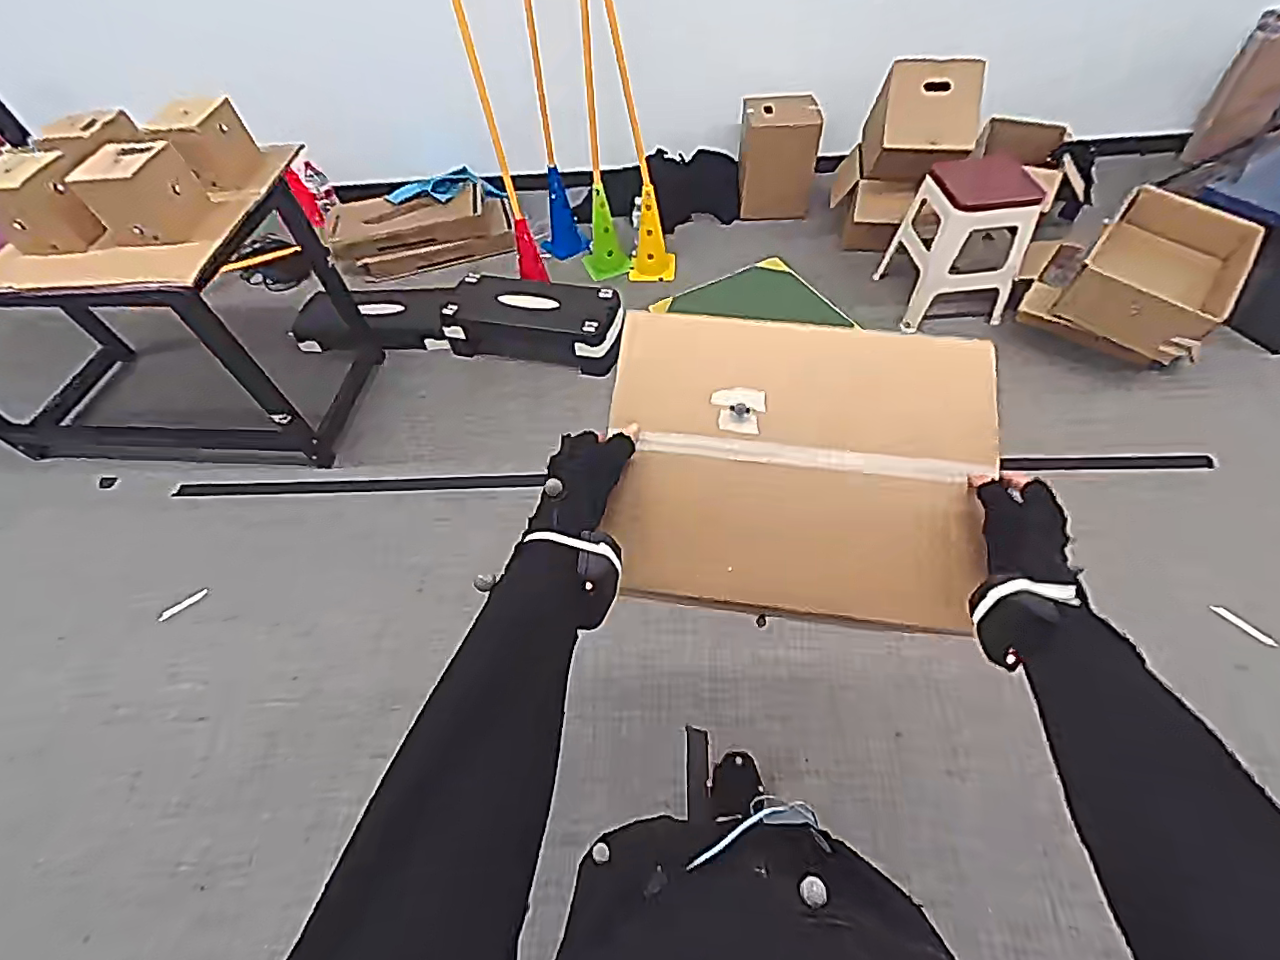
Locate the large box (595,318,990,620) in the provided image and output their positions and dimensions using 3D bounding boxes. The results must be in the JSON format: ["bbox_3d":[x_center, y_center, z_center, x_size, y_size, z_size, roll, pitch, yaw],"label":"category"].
[{"bbox_3d":[0.176,0.008,0.726,0.408,0.320,0.320,6,76,5],"label":"large box"}]
